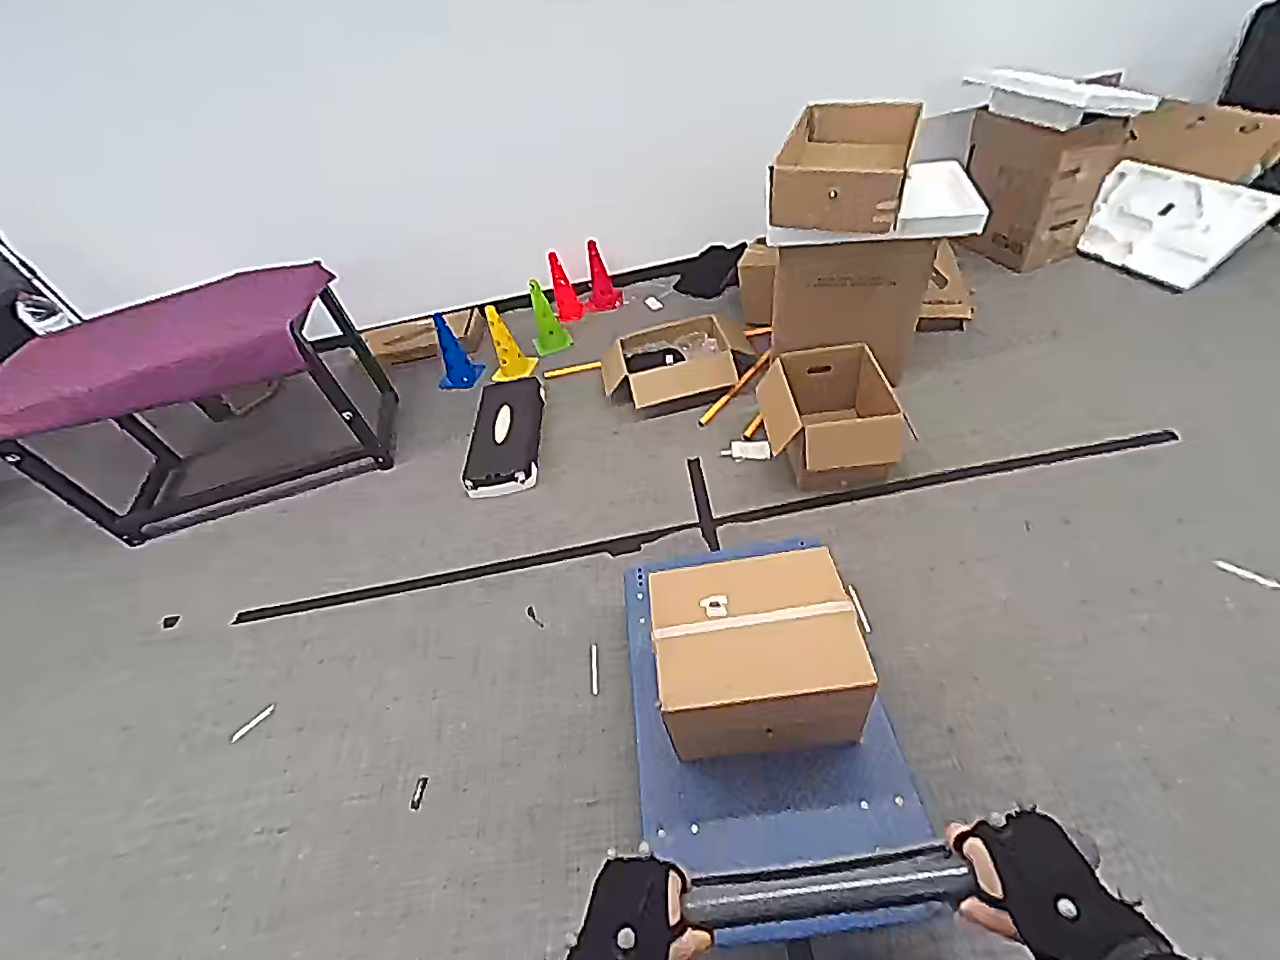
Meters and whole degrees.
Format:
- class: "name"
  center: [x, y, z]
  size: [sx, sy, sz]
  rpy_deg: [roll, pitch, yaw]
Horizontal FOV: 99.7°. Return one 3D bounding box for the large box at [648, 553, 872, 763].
- class: "large box"
  center: [0.252, 0.407, 1.219]
  size: [0.408, 0.320, 0.320]
  rpy_deg: [-11, 44, 5]
